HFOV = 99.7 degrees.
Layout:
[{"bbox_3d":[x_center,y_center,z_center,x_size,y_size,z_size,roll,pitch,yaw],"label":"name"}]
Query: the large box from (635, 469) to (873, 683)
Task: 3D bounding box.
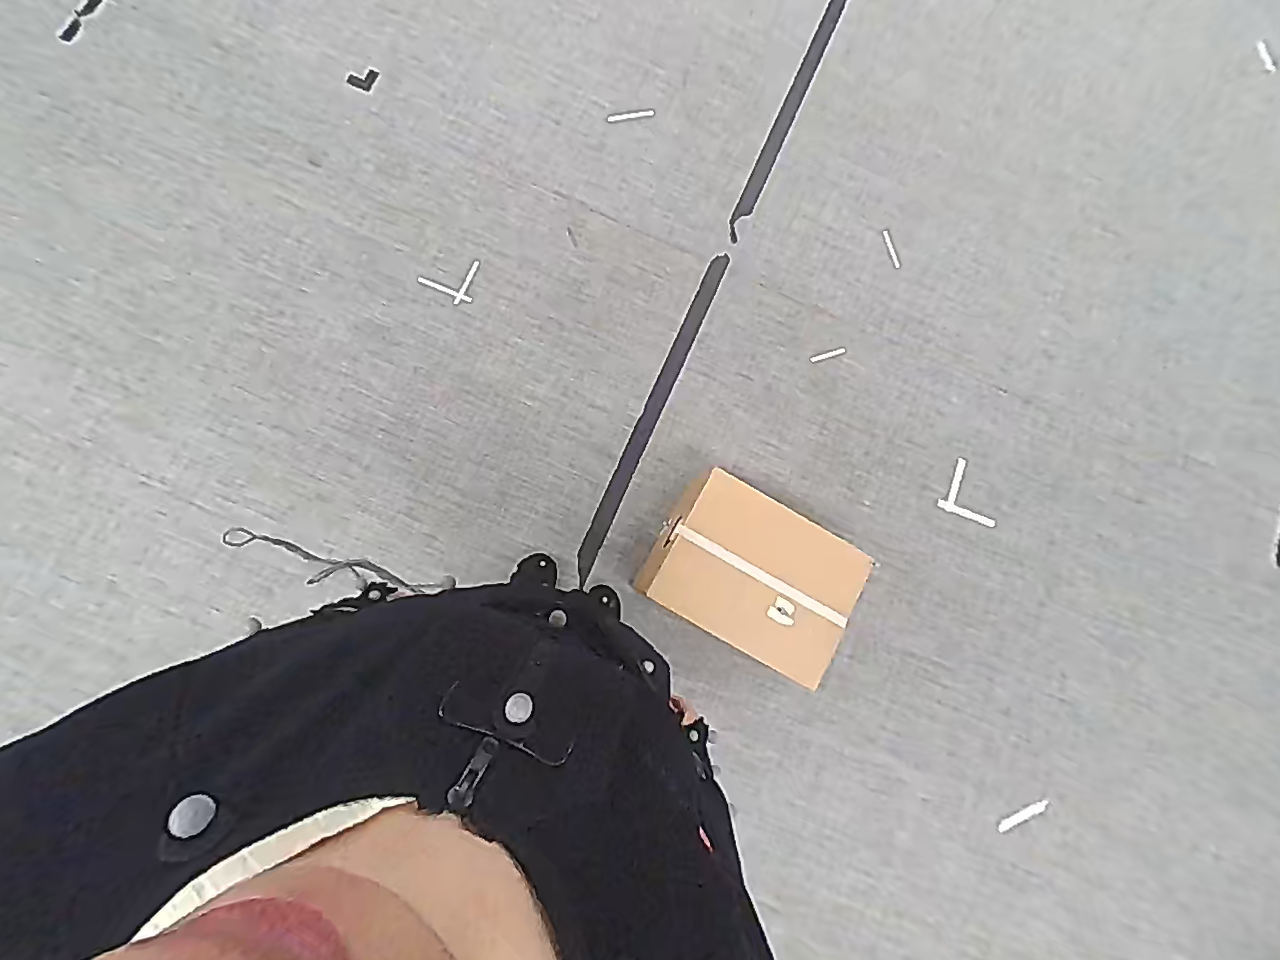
[{"bbox_3d":[0.244,0.219,1.280,0.408,0.320,0.320,30,80,-2],"label":"large box"}]
